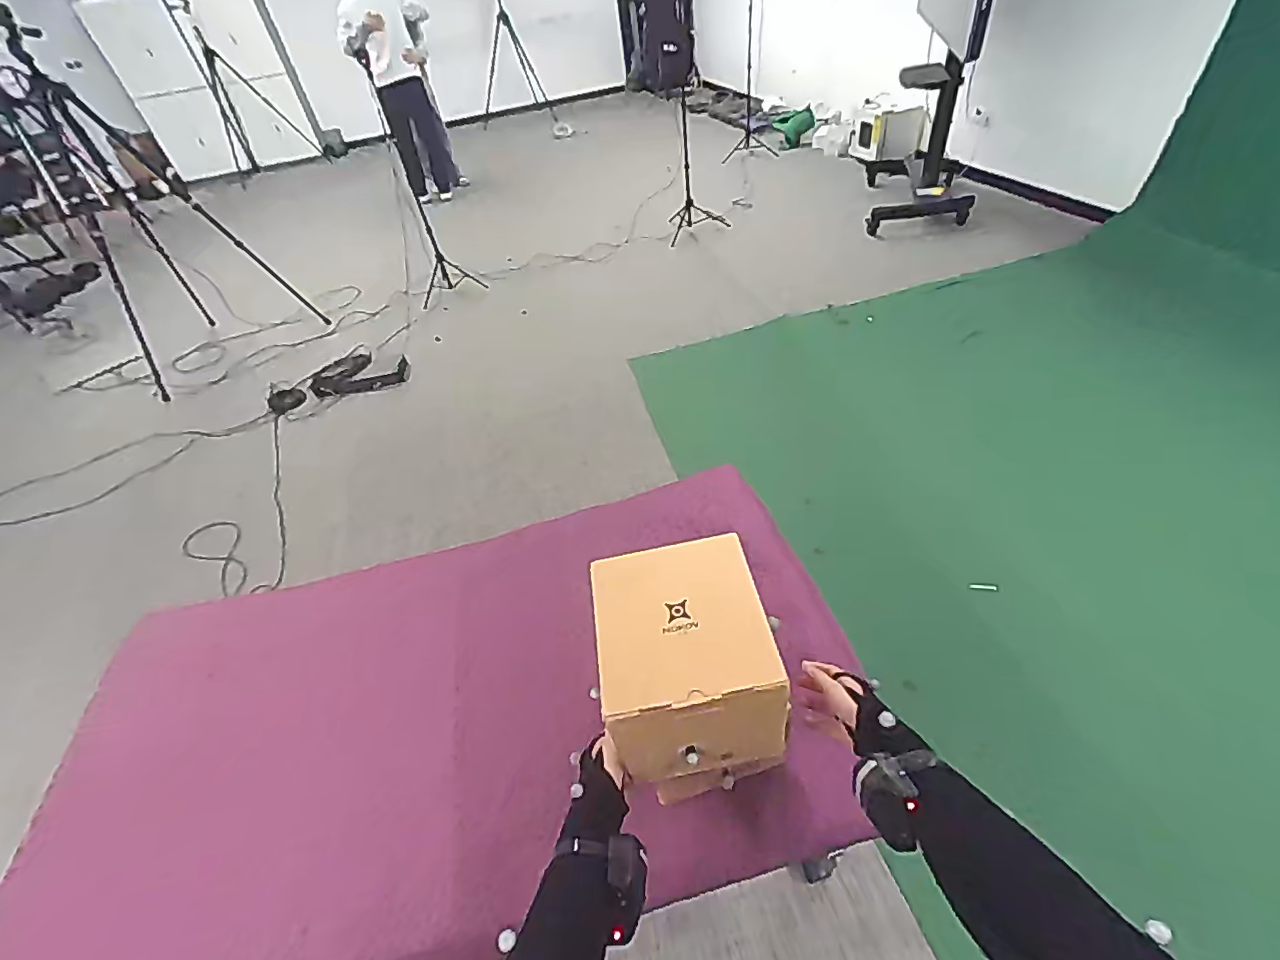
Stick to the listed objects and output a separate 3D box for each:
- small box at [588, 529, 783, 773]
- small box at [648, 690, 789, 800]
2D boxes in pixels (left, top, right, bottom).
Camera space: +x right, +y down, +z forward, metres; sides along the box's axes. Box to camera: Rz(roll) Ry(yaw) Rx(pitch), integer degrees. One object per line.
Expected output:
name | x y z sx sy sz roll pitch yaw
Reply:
small box | 0.044 0.183 0.580 0.168 0.176 0.179 -12 44 0
small box | 0.075 0.283 0.706 0.179 0.176 0.168 -17 42 -6
